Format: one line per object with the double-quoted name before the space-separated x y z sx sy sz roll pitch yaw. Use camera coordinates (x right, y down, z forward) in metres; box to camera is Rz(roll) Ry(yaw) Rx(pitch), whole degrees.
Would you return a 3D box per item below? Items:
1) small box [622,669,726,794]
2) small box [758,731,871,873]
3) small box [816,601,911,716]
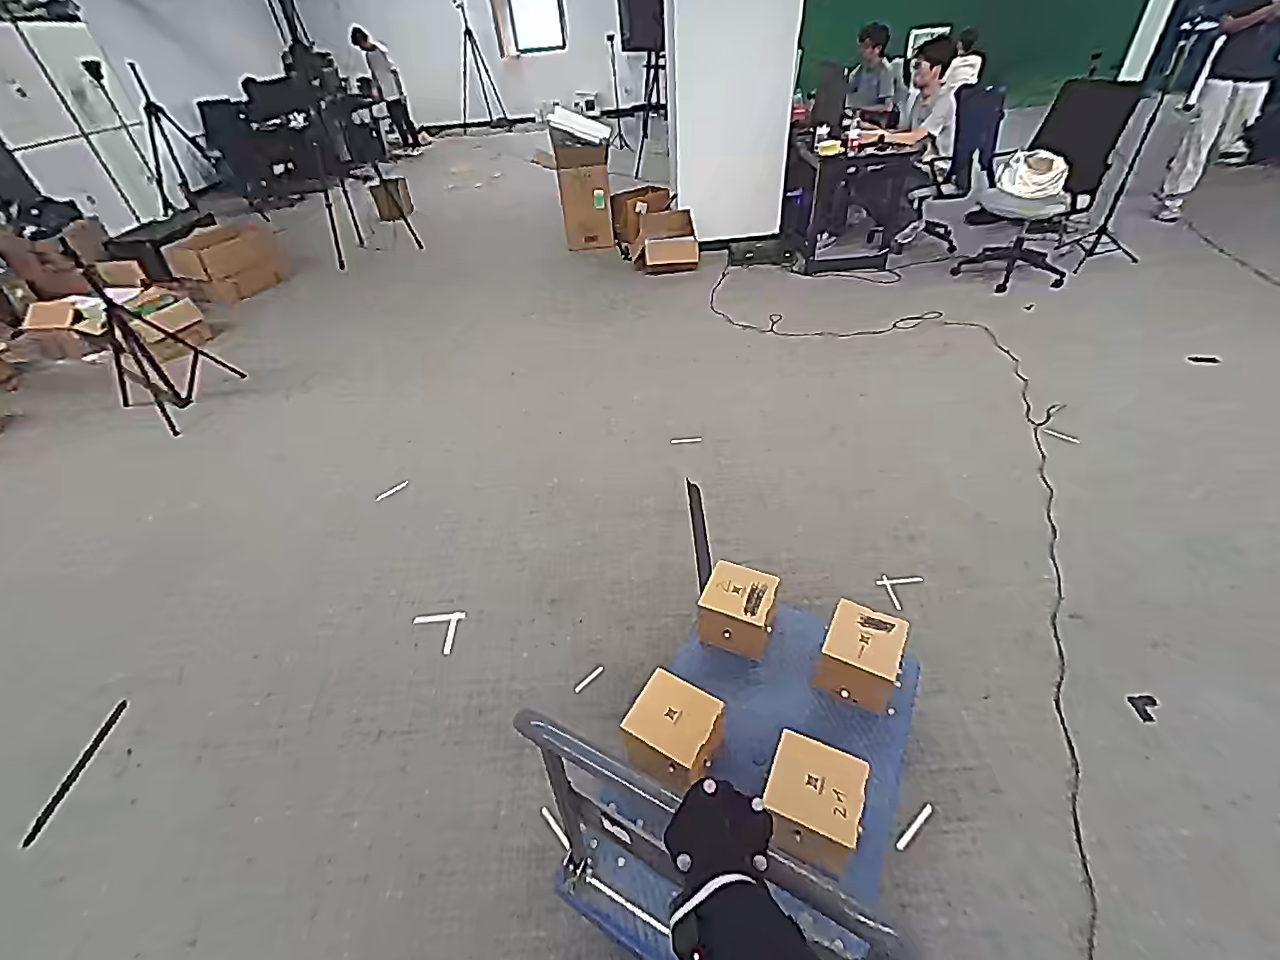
"small box" 0.079 0.574 1.230 0.179 0.176 0.168 21 46 26
"small box" 0.349 0.656 1.101 0.179 0.176 0.168 16 45 23
"small box" 0.546 0.440 1.334 0.168 0.176 0.179 18 47 26
